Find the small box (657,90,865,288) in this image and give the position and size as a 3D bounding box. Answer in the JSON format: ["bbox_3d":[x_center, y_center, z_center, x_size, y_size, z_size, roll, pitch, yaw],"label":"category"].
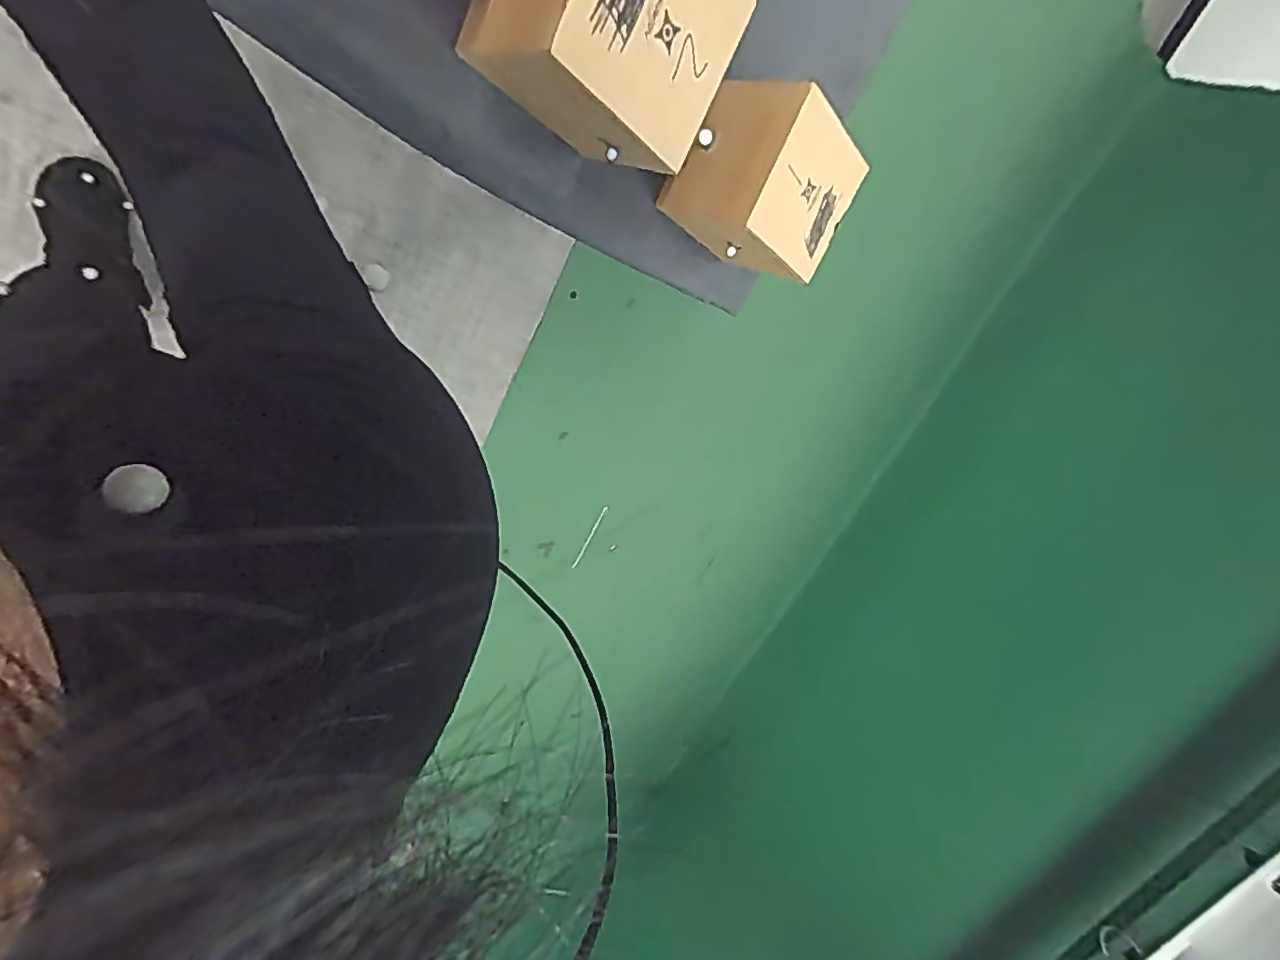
[{"bbox_3d":[0.158,-0.386,0.721,0.179,0.176,0.168,12,109,-48],"label":"small box"}]
